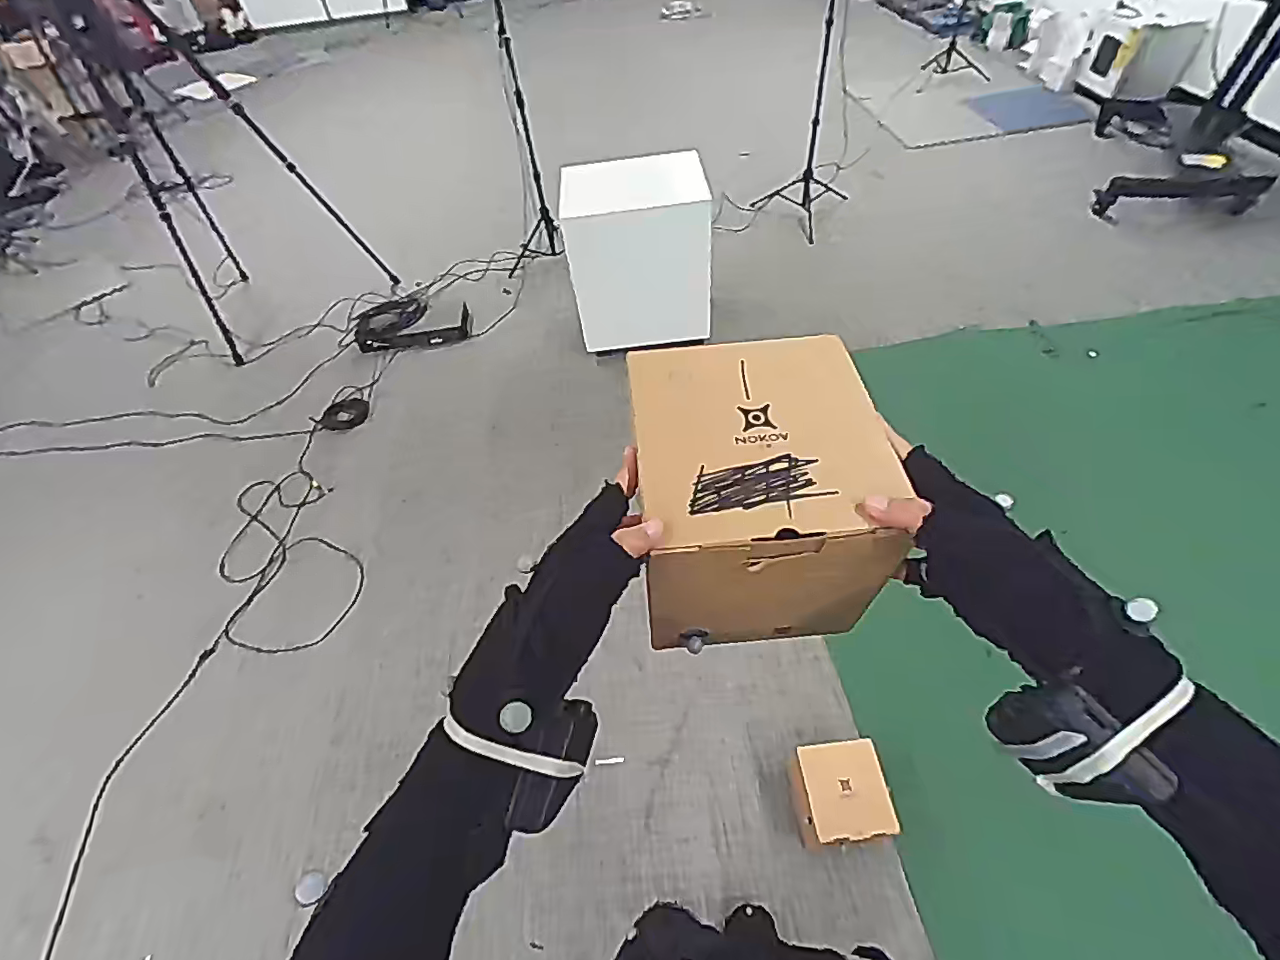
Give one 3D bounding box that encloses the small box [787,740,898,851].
[{"bbox_3d":[0.429,0.692,1.183,0.168,0.176,0.179,-8,51,1],"label":"small box"}]
